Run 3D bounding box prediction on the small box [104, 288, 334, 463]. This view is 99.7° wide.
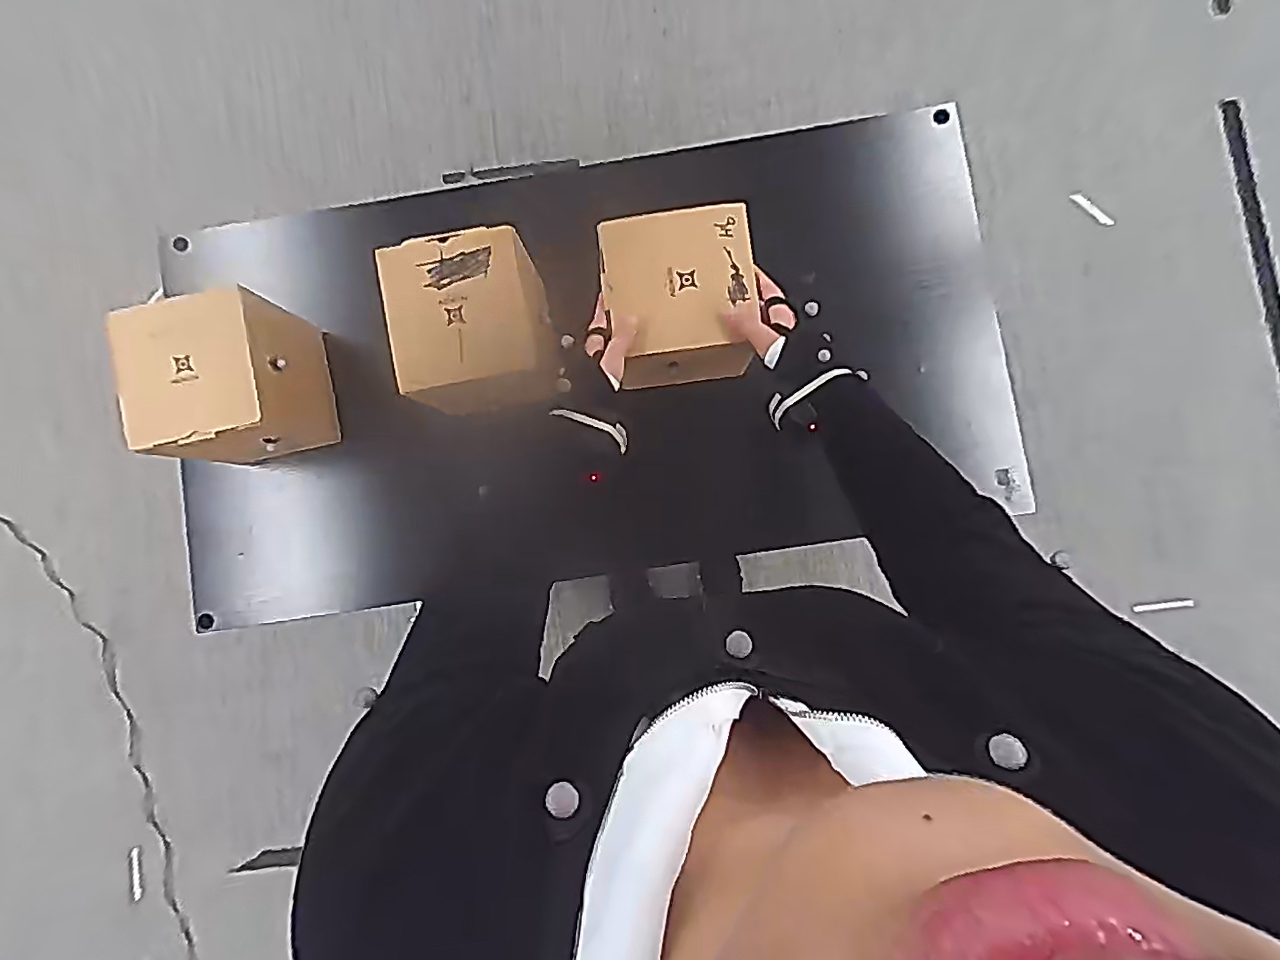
[{"bbox_3d":[-0.535,-0.123,0.713,0.168,0.176,0.179,-13,86,0],"label":"small box"}]

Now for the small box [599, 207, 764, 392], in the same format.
[{"bbox_3d":[0.051,-0.219,0.699,0.179,0.176,0.168,-7,86,2],"label":"small box"}]

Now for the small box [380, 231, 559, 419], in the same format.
[{"bbox_3d":[-0.210,-0.189,0.705,0.168,0.176,0.179,-10,87,1],"label":"small box"}]
